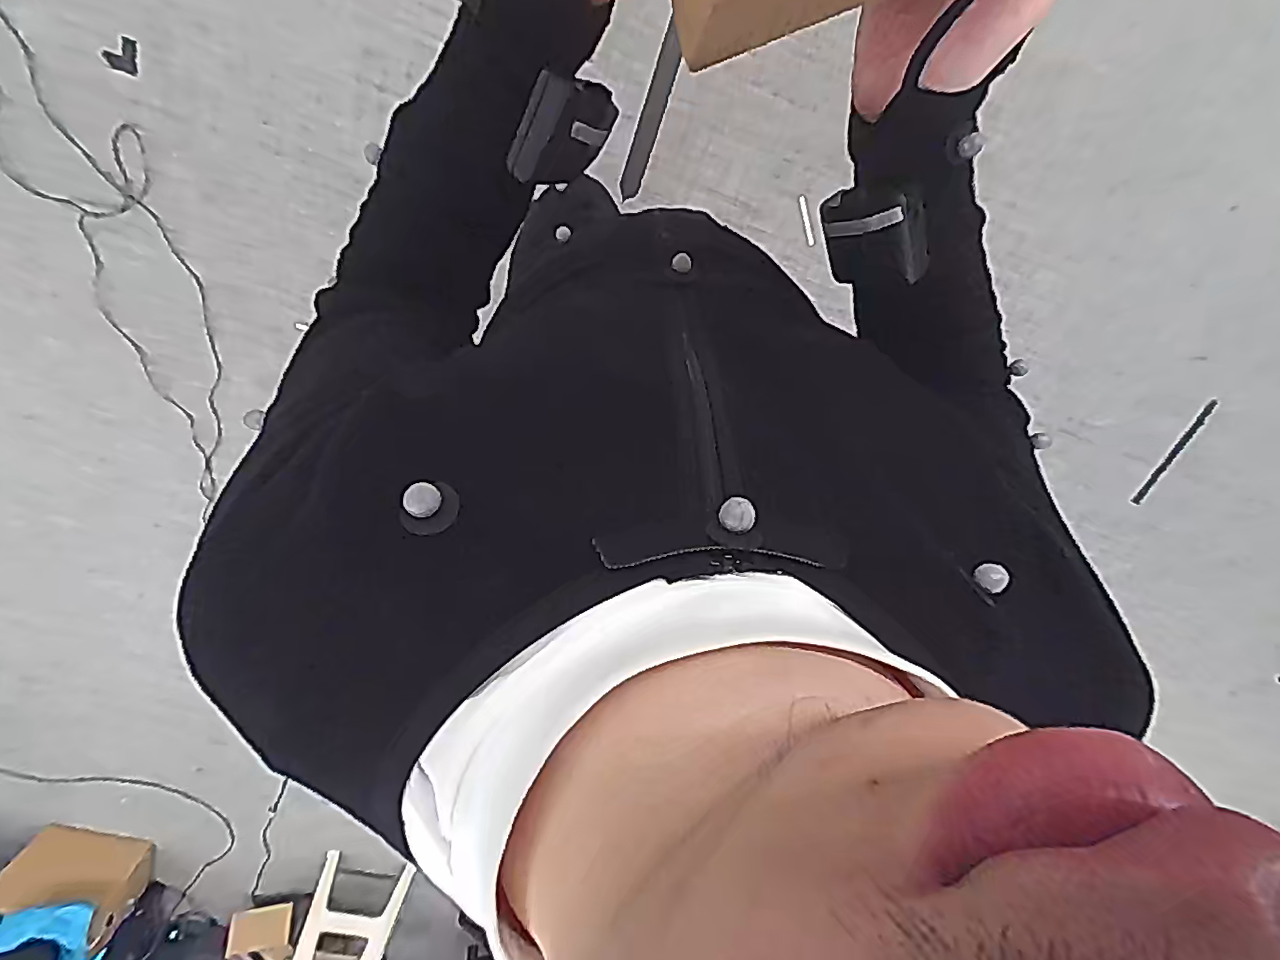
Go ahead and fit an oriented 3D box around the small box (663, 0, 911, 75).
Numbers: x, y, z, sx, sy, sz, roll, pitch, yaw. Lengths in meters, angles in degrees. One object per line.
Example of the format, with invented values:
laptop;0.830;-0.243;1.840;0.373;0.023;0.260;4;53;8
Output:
small box;0.083;-0.271;0.170;0.179;0.176;0.168;-18;112;7
